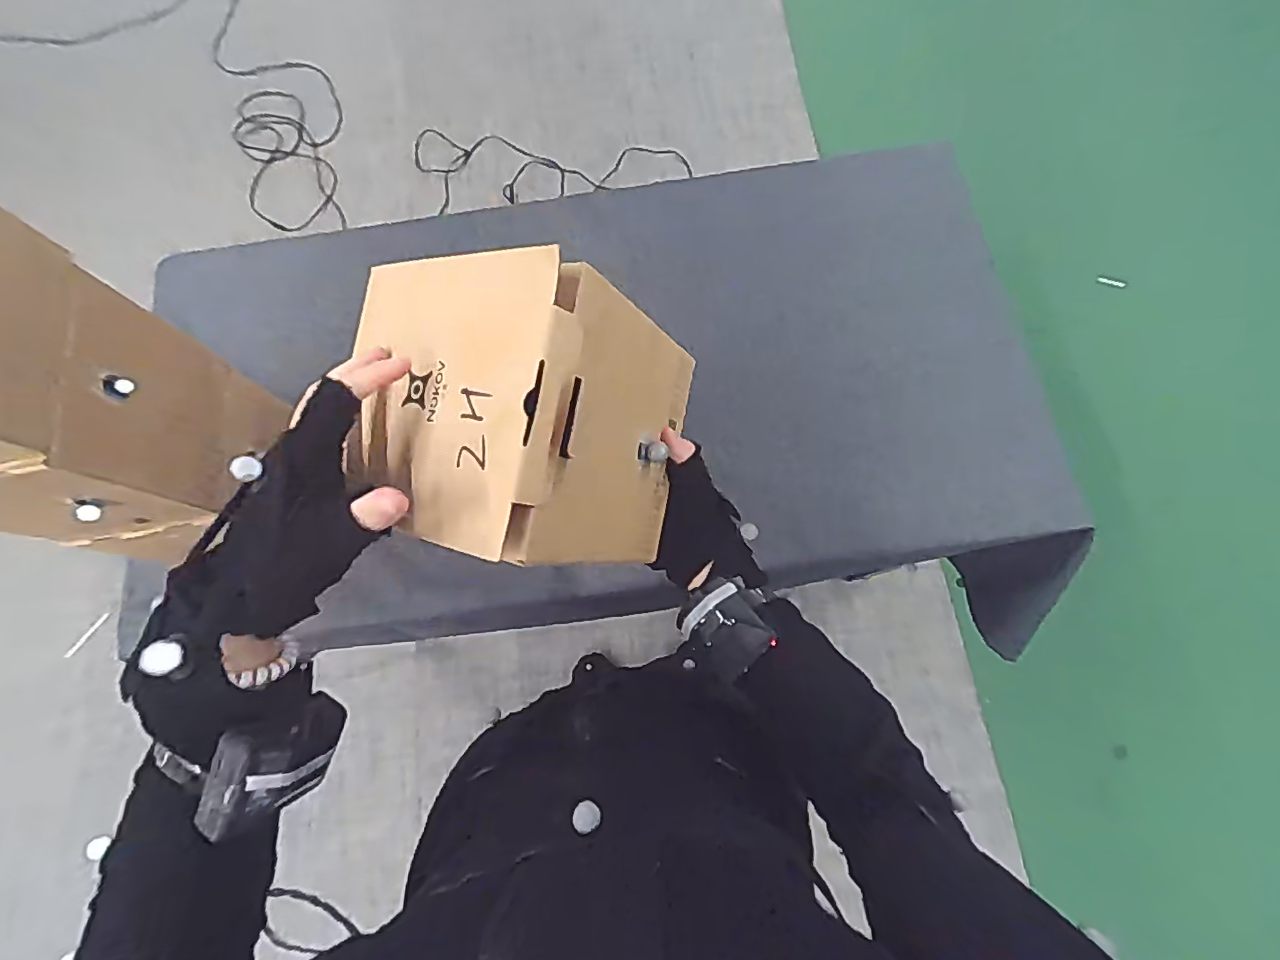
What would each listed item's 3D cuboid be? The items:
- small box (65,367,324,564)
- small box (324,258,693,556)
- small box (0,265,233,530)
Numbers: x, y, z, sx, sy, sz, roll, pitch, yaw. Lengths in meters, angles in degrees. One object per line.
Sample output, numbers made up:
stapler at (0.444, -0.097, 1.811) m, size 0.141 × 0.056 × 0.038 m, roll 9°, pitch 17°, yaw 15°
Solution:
small box at (-0.505, -0.008, 0.643) m, size 0.168 × 0.176 × 0.179 m, roll -10°, pitch 74°, yaw 0°
small box at (-0.083, -0.043, 0.393) m, size 0.179 × 0.176 × 0.168 m, roll 11°, pitch 89°, yaw 28°
small box at (-0.511, -0.057, 0.488) m, size 0.168 × 0.176 × 0.179 m, roll -9°, pitch 73°, yaw -1°
